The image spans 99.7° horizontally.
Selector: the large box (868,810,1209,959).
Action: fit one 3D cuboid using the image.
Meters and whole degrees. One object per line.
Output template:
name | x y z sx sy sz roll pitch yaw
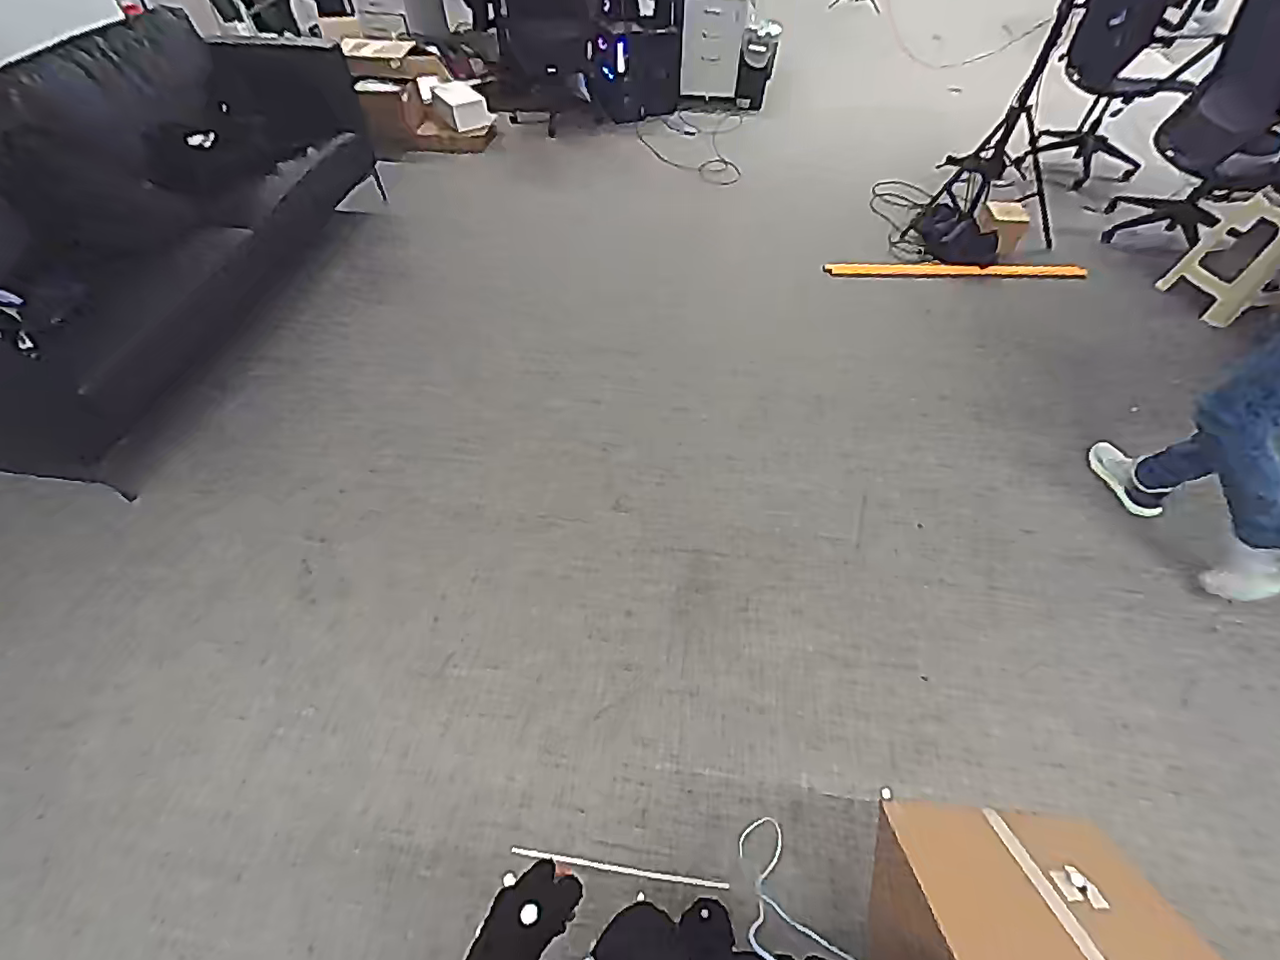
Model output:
large box | 0.511 0.702 0.666 0.320 0.320 0.408 3 9 5
